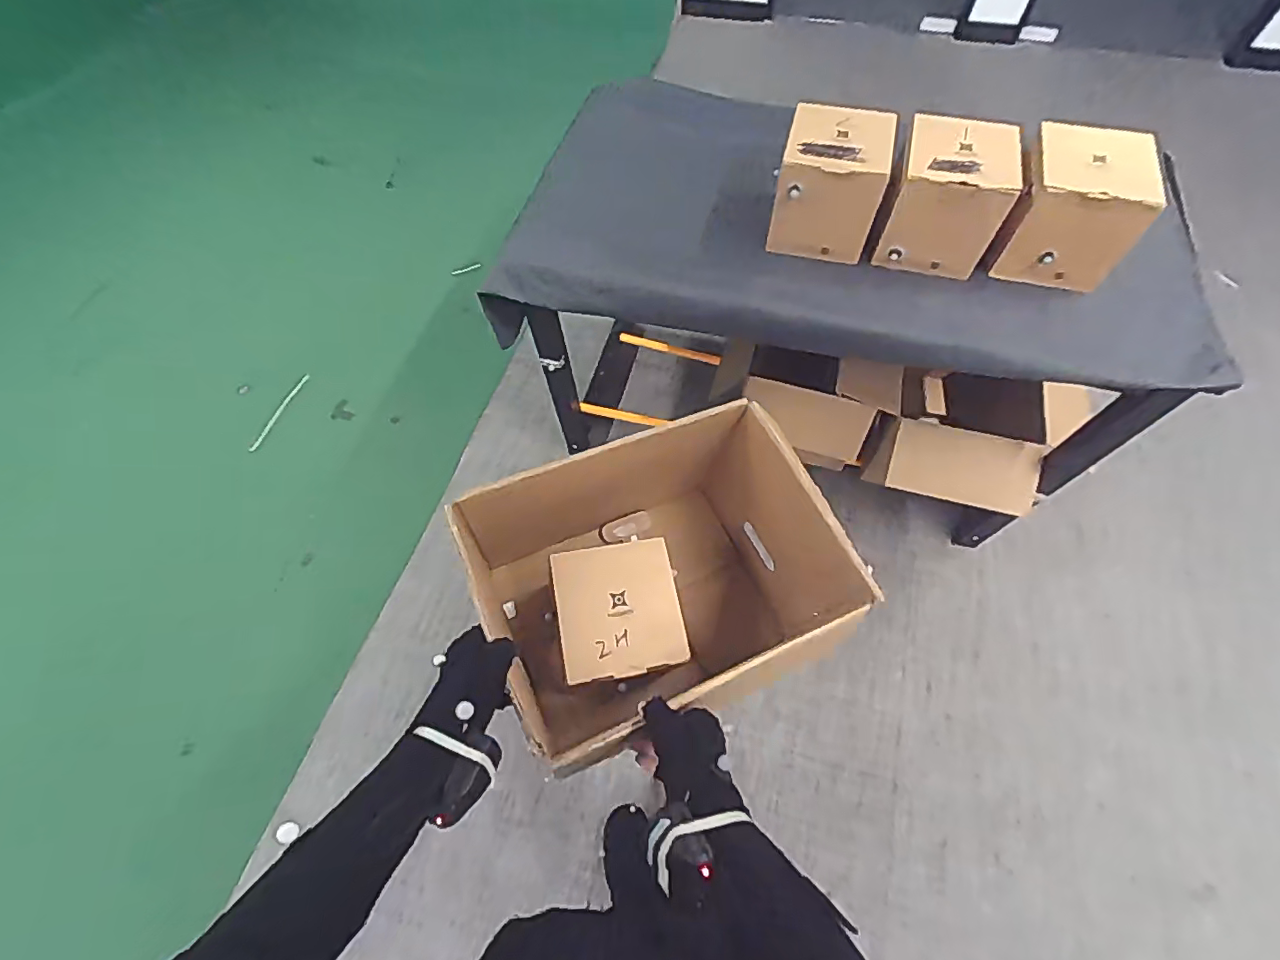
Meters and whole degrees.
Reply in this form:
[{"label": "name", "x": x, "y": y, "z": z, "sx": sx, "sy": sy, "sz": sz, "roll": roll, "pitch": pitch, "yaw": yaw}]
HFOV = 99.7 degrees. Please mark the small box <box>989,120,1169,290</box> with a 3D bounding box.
[{"label": "small box", "x": 0.704, "y": -0.448, "z": 0.891, "sx": 0.168, "sy": 0.176, "sz": 0.179, "roll": 14, "pitch": 64, "yaw": 10}]
